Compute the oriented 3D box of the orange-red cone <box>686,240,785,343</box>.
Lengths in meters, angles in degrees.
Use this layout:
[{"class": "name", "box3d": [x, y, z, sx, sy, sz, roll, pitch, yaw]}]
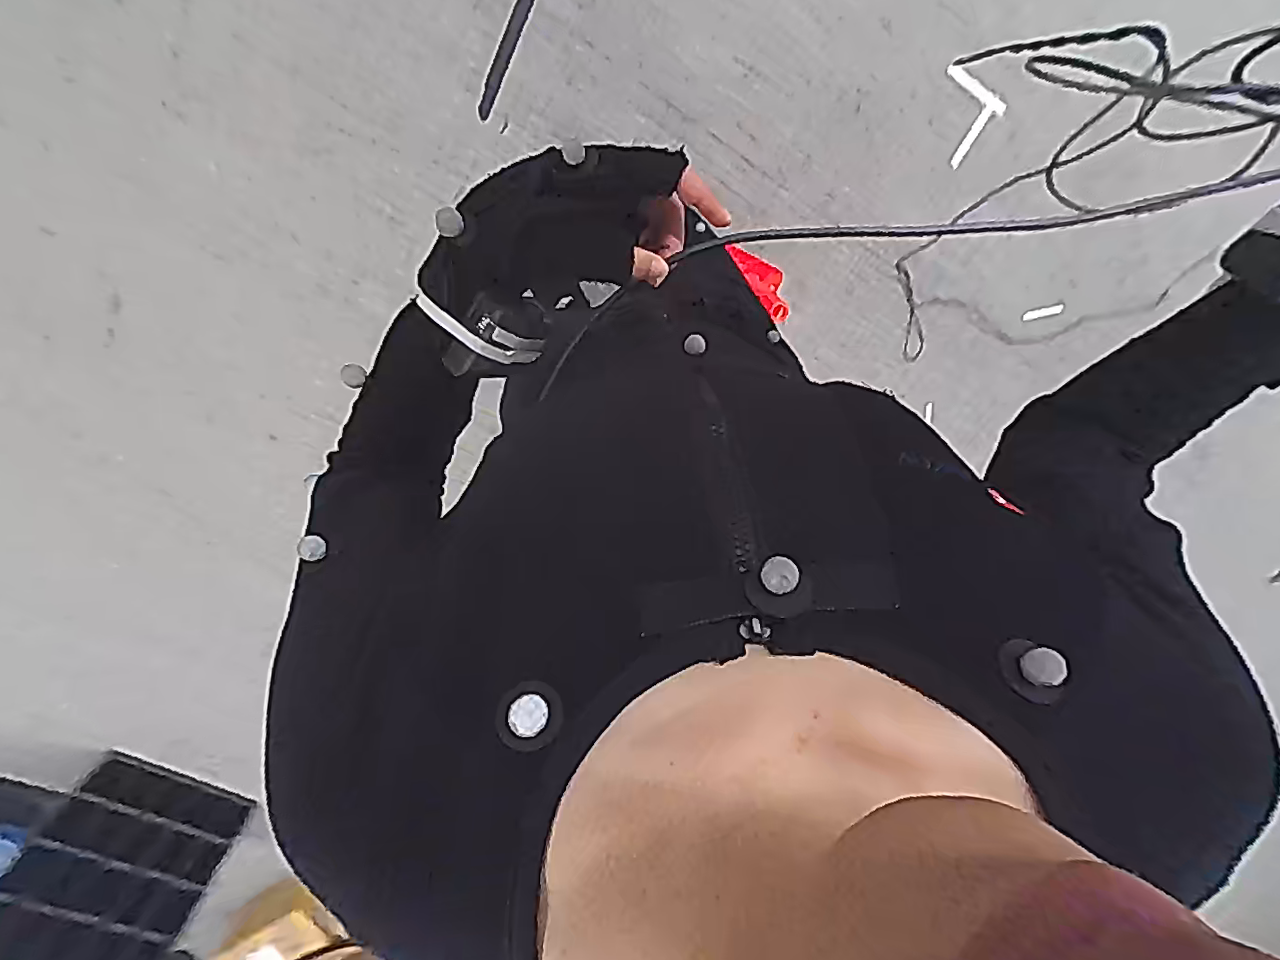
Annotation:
[{"class": "orange-red cone", "box3d": [0.247, -0.390, 1.184, 0.198, 0.360, 0.199, 22, 112, -14]}]
